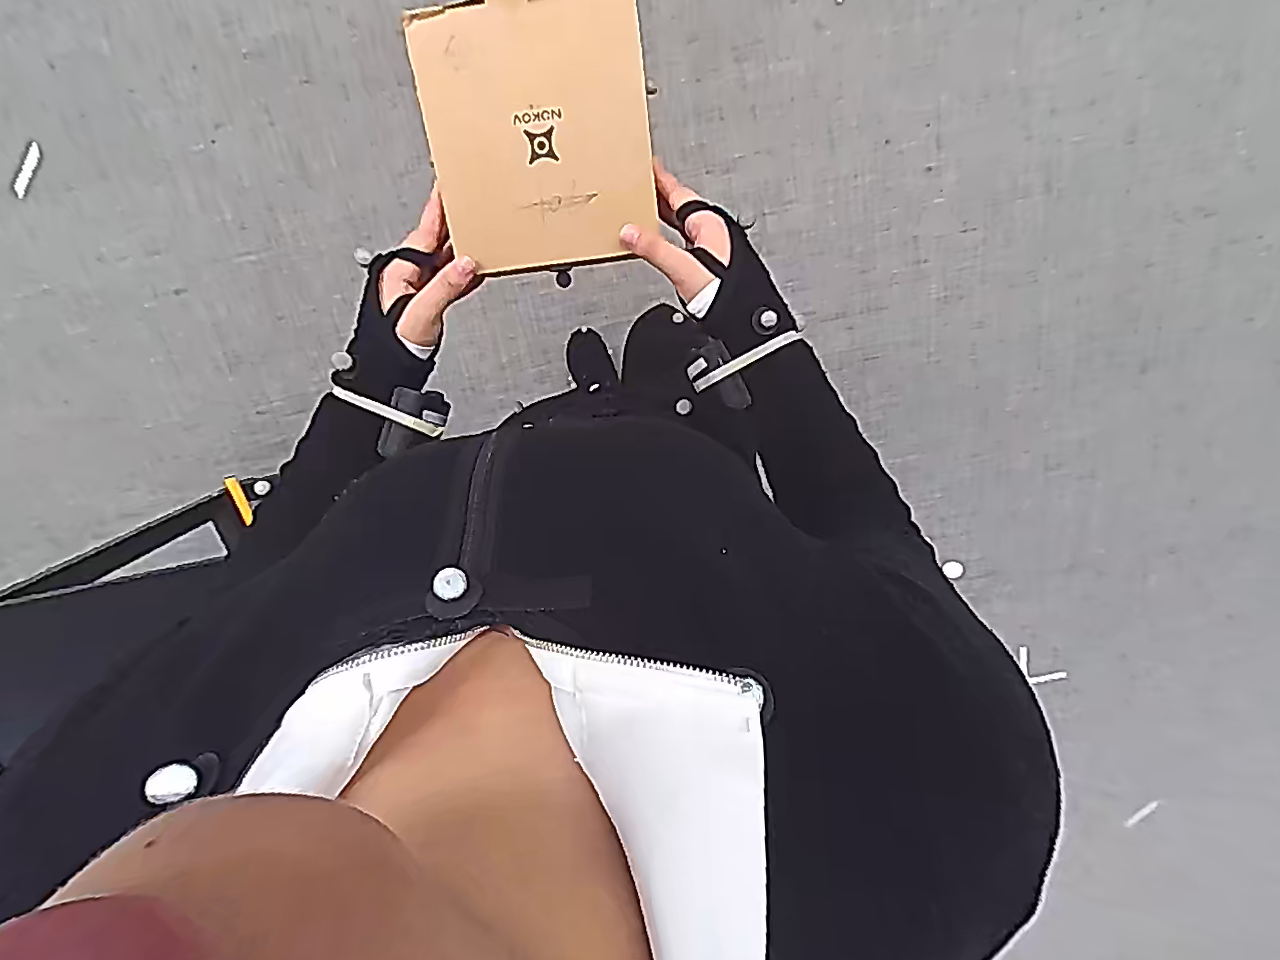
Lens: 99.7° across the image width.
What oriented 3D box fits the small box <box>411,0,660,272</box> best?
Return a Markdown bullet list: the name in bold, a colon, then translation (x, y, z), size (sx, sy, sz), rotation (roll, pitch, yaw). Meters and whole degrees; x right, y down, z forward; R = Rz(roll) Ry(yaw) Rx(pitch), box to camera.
- **small box**: translation (-0.076, -0.287, 0.481), size (0.168, 0.176, 0.179), rotation (-7, 111, 0)
